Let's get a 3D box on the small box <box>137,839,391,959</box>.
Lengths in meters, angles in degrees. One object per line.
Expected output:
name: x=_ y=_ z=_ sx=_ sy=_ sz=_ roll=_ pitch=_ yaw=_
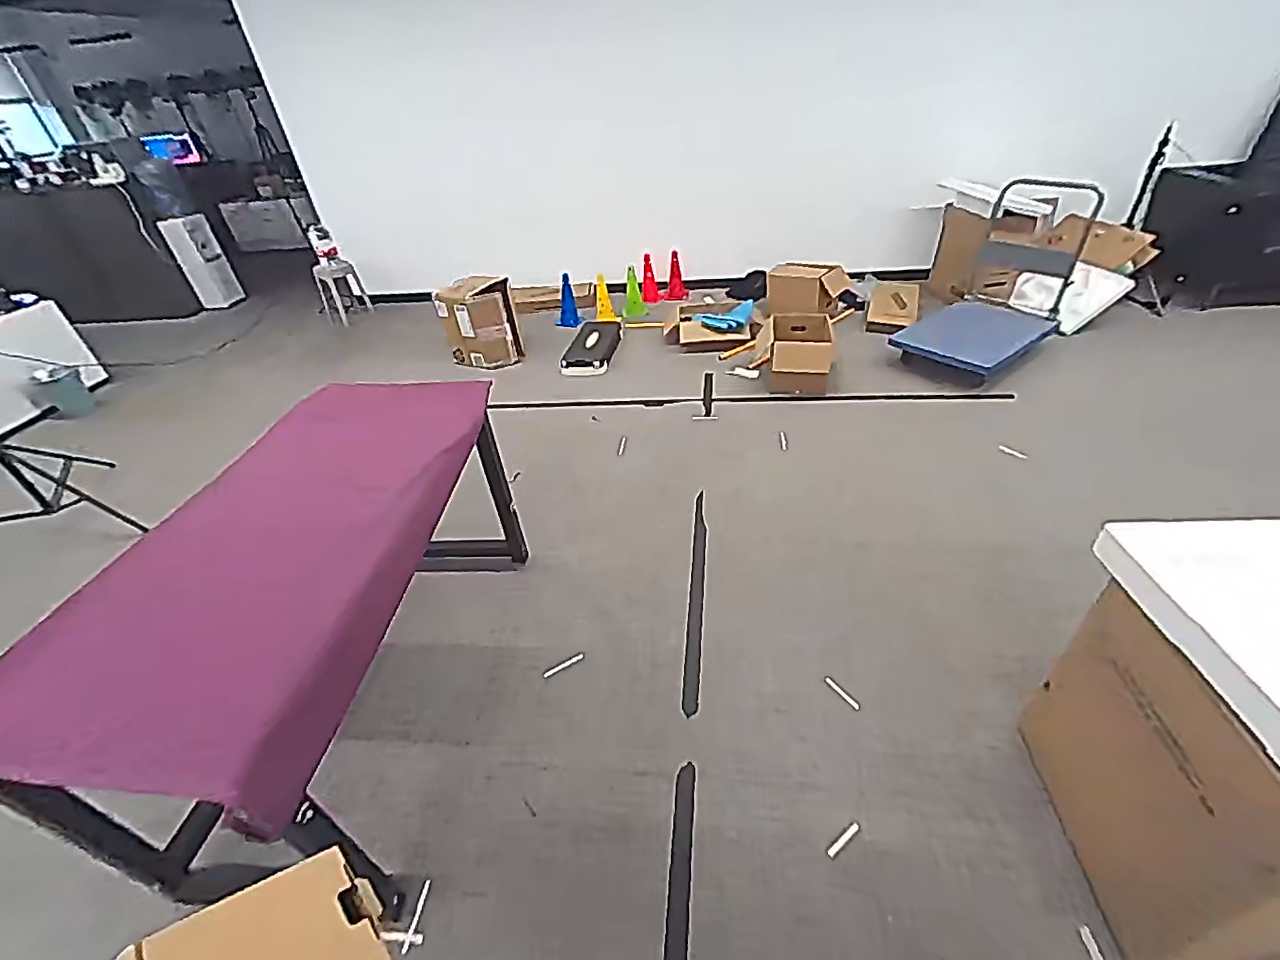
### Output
small box: x=-0.369 y=0.521 z=0.534 sx=0.168 sy=0.176 sz=0.179 roll=23 pitch=17 yaw=41
